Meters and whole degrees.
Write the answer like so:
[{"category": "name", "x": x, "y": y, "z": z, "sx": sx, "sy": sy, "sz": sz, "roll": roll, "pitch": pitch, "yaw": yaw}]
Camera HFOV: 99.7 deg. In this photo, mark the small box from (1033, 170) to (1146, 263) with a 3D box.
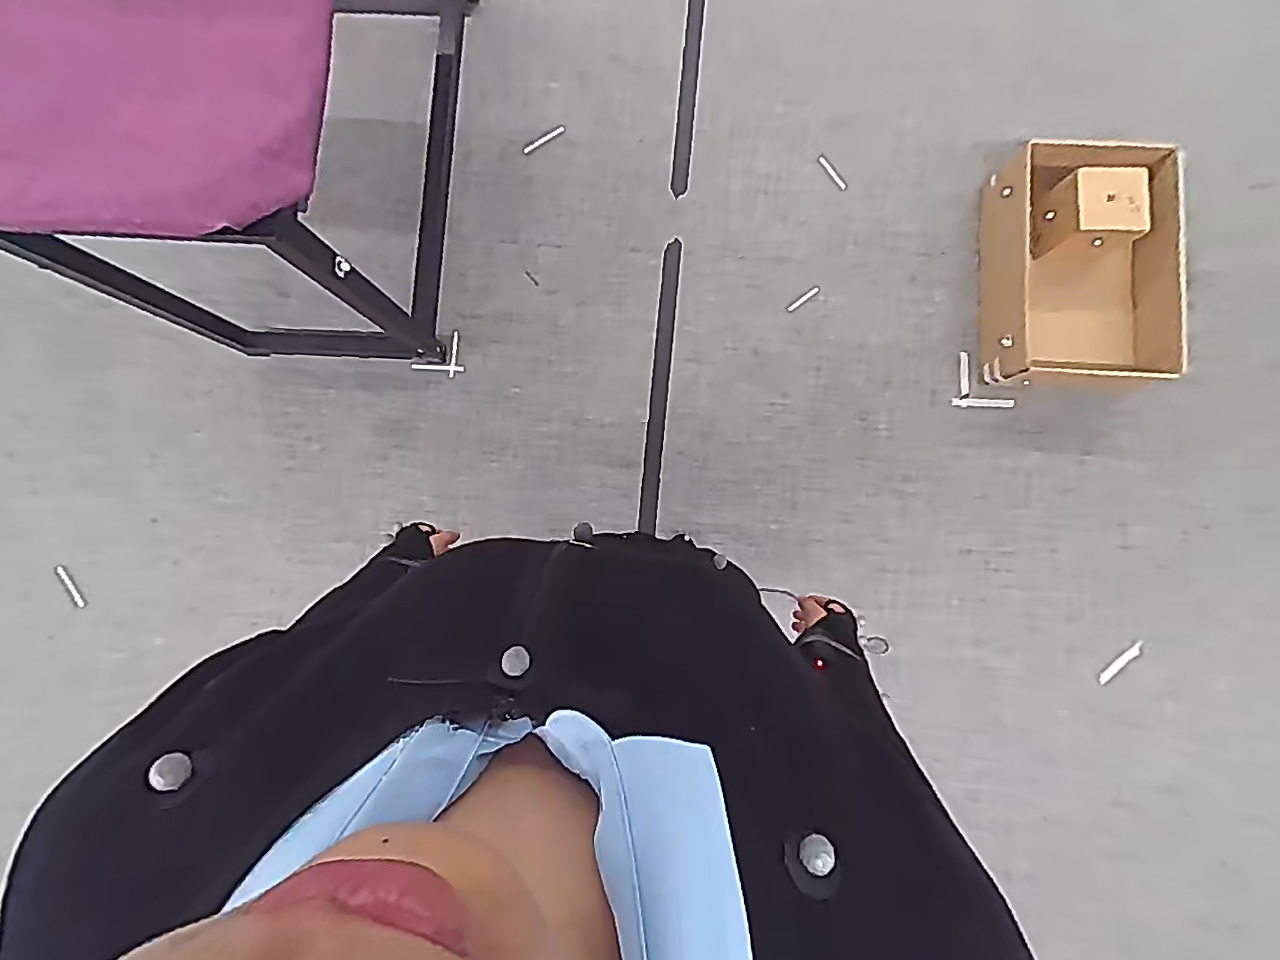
[{"category": "small box", "x": 1.184, "y": -0.694, "z": 1.438, "sx": 0.179, "sy": 0.176, "sz": 0.168, "roll": 2, "pitch": 86, "yaw": 1}]
